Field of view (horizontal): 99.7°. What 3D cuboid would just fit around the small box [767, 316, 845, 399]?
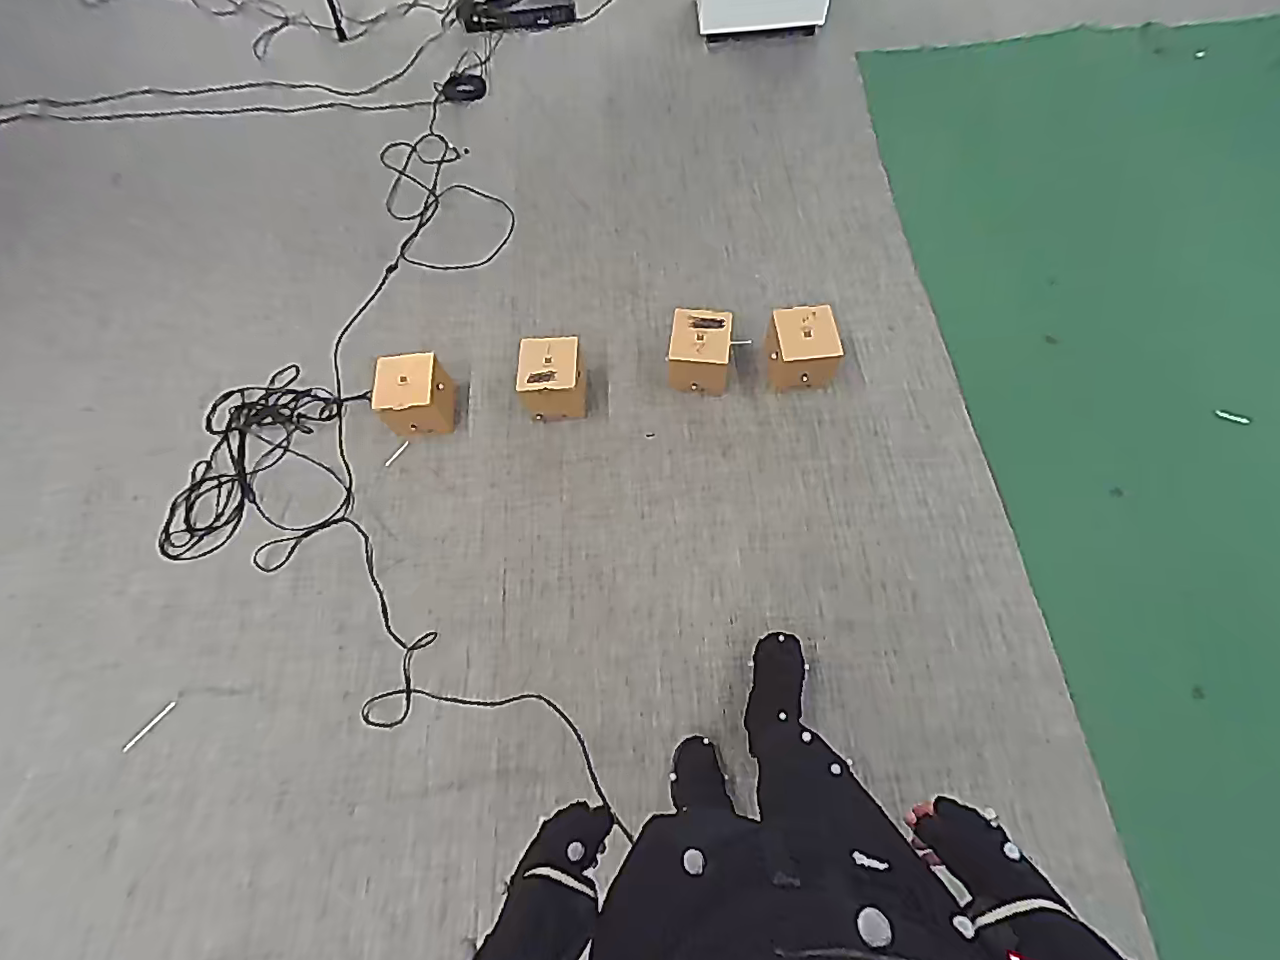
[{"bbox_3d":[0.475,-0.348,1.571,0.168,0.176,0.179,-5,66,1],"label":"small box"}]

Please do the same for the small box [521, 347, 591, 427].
[{"bbox_3d":[-0.239,-0.265,1.583,0.168,0.176,0.179,-2,66,4],"label":"small box"}]

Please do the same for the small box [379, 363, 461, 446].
[{"bbox_3d":[-0.640,-0.219,1.594,0.168,0.176,0.179,-6,66,2],"label":"small box"}]
